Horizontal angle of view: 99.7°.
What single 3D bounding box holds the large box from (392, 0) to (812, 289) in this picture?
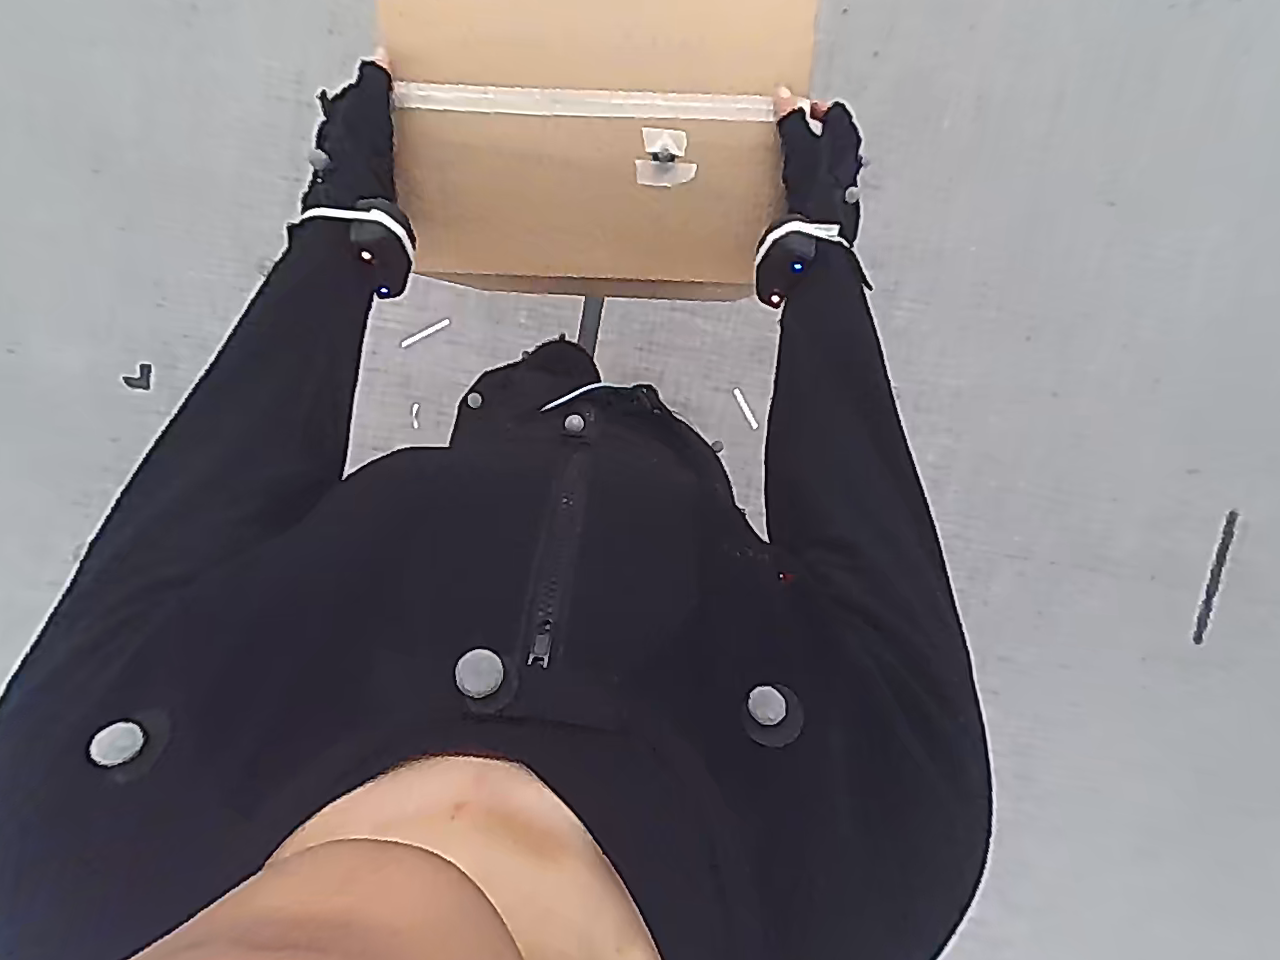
[{"bbox_3d":[-0.041,-0.414,0.676,0.408,0.320,0.320,1,107,-2],"label":"large box"}]
